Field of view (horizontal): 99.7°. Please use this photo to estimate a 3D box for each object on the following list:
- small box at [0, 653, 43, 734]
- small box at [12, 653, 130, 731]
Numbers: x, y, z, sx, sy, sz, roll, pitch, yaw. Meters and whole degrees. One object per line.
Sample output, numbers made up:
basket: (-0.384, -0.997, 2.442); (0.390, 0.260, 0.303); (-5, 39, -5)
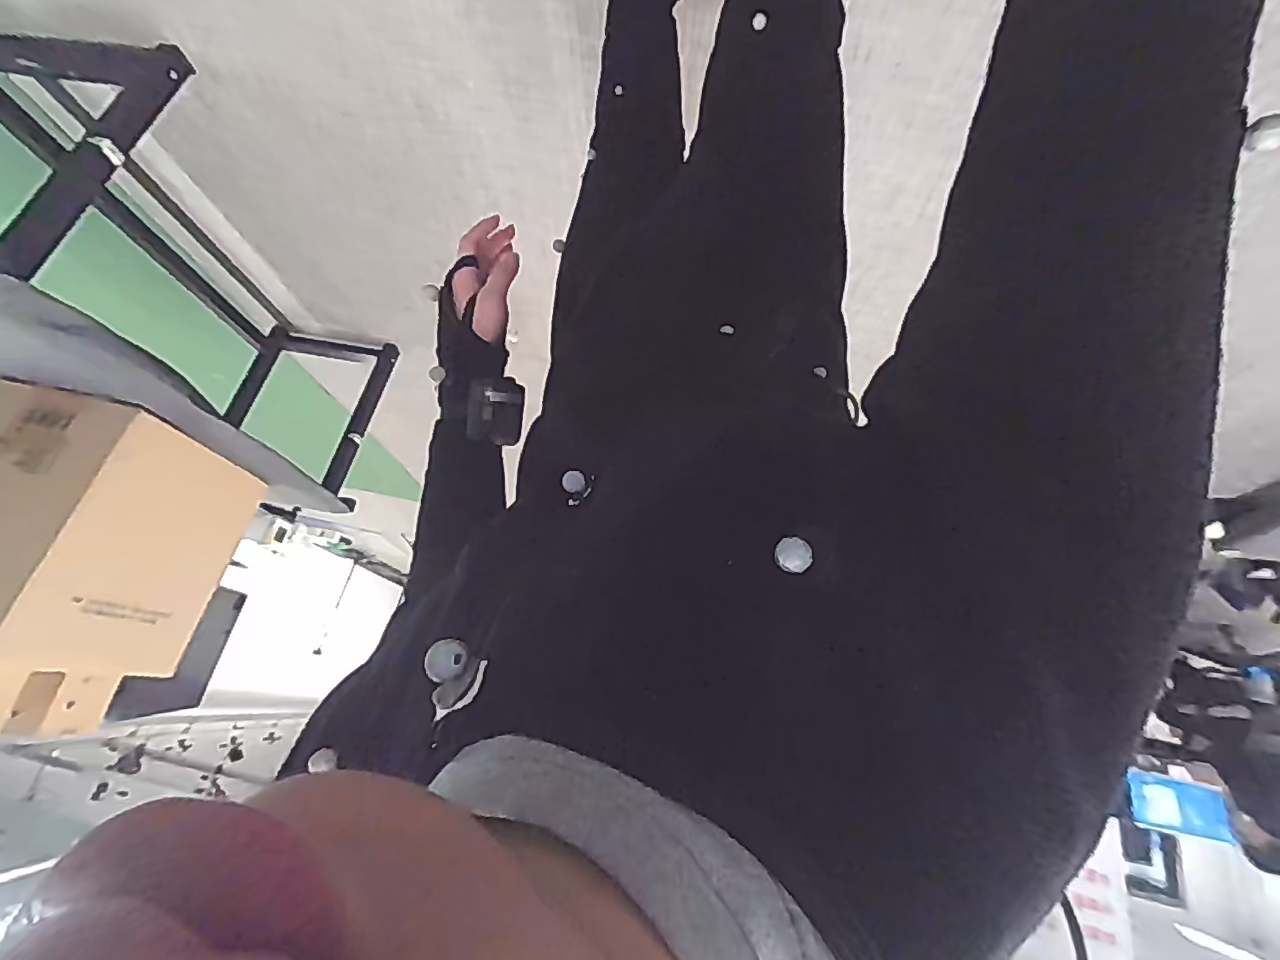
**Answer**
small box: (-1.546, 0.477, 1.225); (0.168, 0.176, 0.179); (8, 159, 1)
small box: (-1.549, 0.571, 1.463); (0.179, 0.176, 0.168); (9, 157, 3)
